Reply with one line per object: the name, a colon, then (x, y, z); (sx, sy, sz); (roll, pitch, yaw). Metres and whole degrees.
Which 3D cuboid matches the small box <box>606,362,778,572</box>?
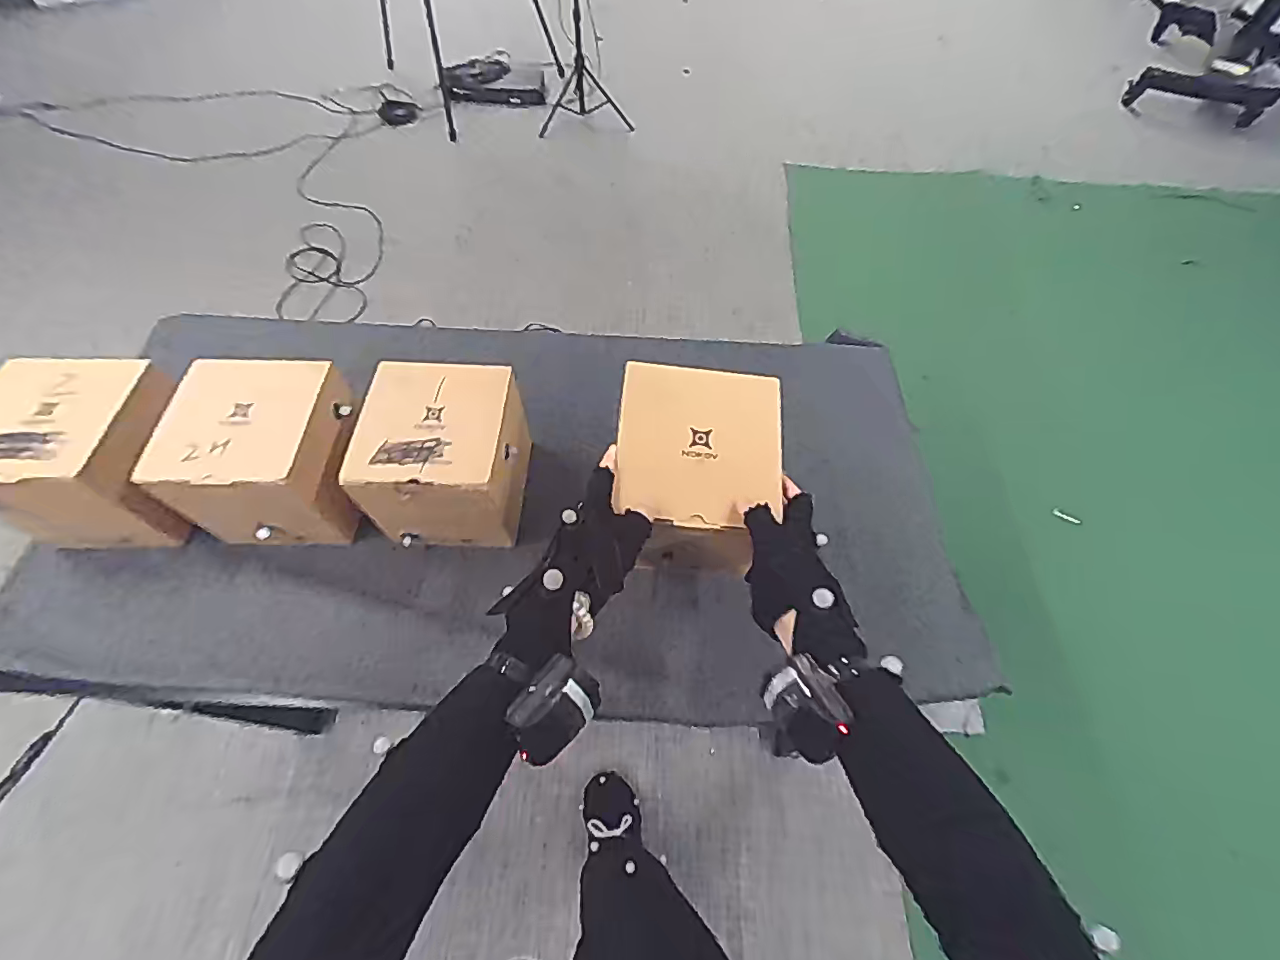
small box: (0.051, -0.007, 0.619); (0.168, 0.176, 0.179); (6, 66, -2)
